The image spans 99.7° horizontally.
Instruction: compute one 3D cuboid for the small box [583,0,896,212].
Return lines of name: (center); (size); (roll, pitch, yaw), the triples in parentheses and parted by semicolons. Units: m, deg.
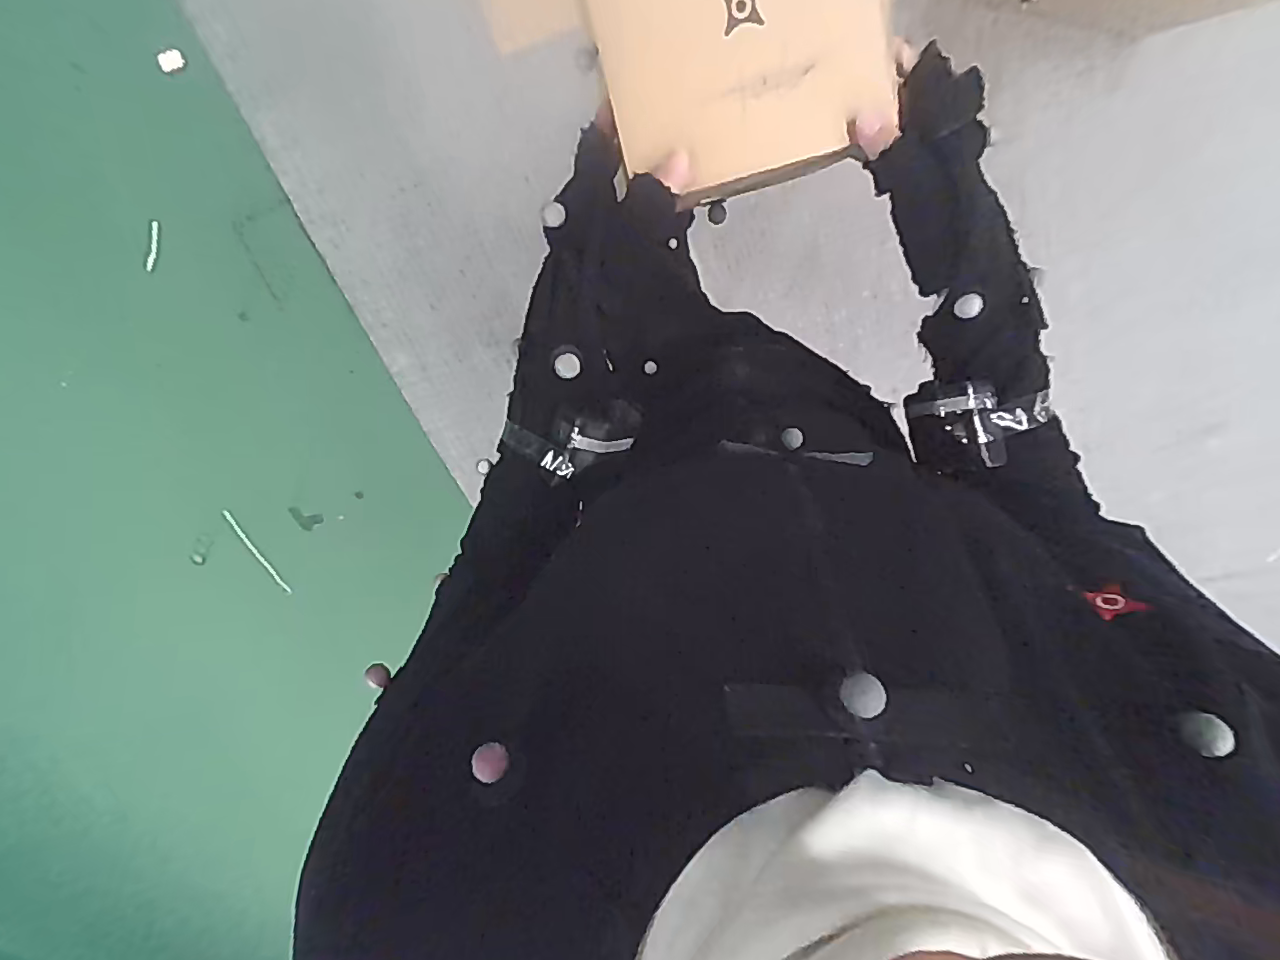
small box: (0.053, -0.306, 0.375); (0.168, 0.176, 0.179); (-14, 111, 5)
